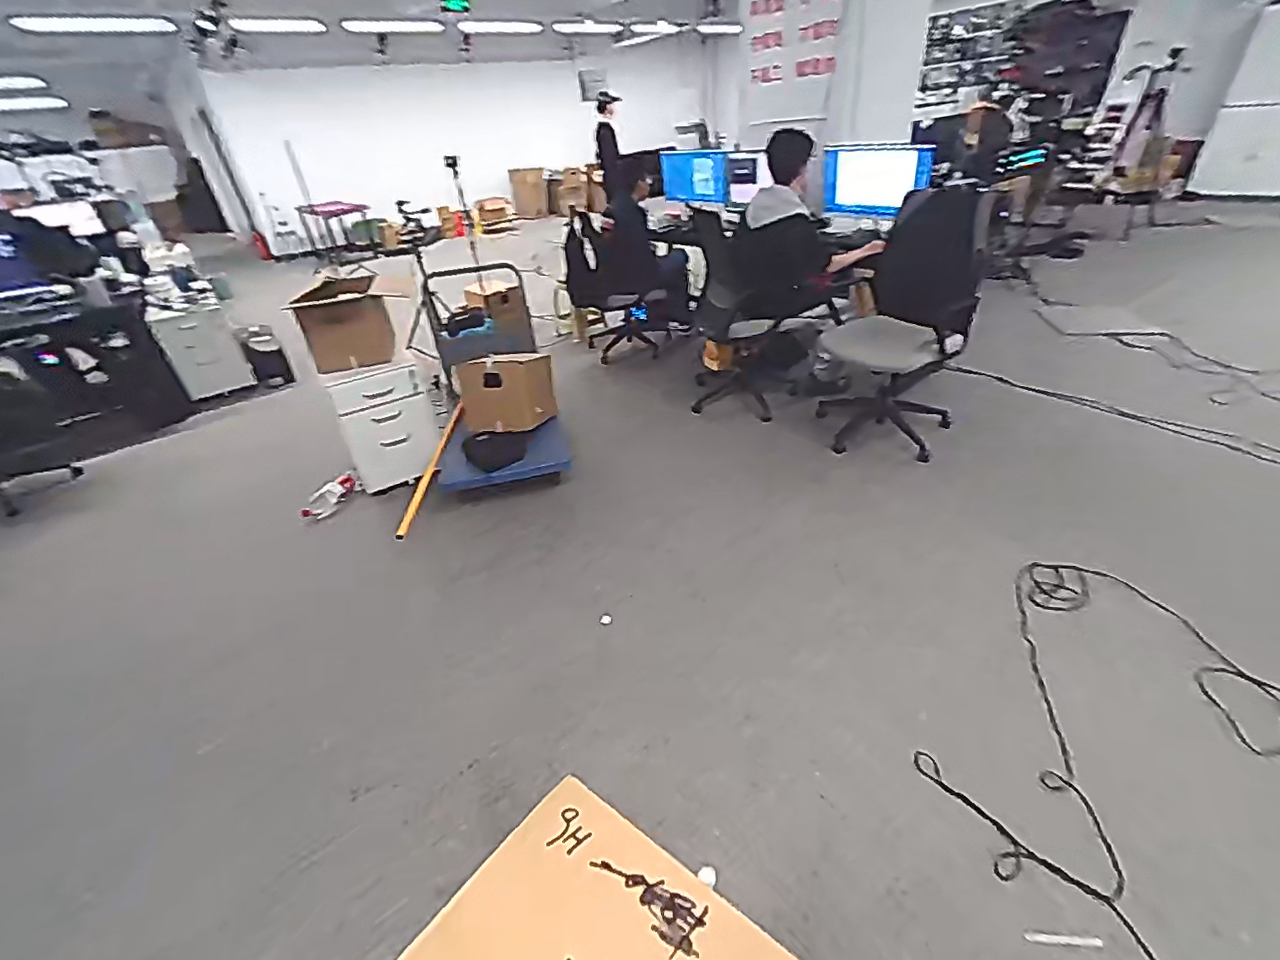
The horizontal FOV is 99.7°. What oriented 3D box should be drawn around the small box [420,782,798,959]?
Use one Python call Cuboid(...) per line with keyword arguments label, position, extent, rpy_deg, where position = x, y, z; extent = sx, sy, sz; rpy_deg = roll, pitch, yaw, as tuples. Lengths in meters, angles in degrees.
Cuboid(label="small box", position=(-0.020, 0.326, 0.296), extent=(0.168, 0.176, 0.179), rpy_deg=(16, 39, 39))
